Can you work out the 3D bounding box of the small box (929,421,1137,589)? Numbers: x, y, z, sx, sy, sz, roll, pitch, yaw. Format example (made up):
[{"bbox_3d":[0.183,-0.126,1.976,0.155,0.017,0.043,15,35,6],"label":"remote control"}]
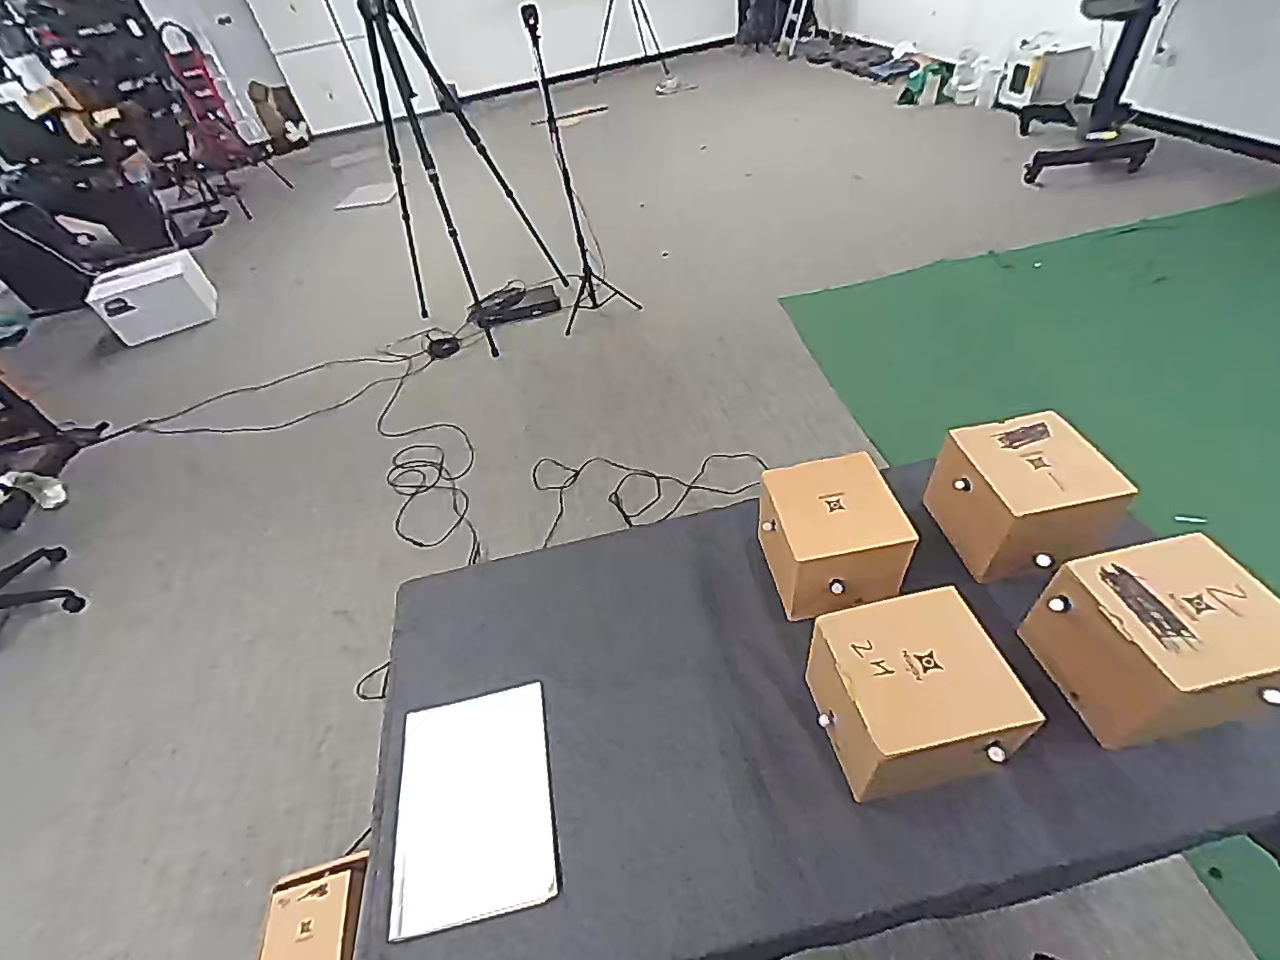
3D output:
[{"bbox_3d":[0.572,0.039,0.823,0.168,0.176,0.179,-11,46,1],"label":"small box"}]

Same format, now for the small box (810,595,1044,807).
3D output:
[{"bbox_3d":[0.321,0.267,0.650,0.179,0.176,0.168,-13,44,0],"label":"small box"}]

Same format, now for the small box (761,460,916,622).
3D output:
[{"bbox_3d":[0.289,0.099,0.826,0.168,0.176,0.179,-11,45,1],"label":"small box"}]
